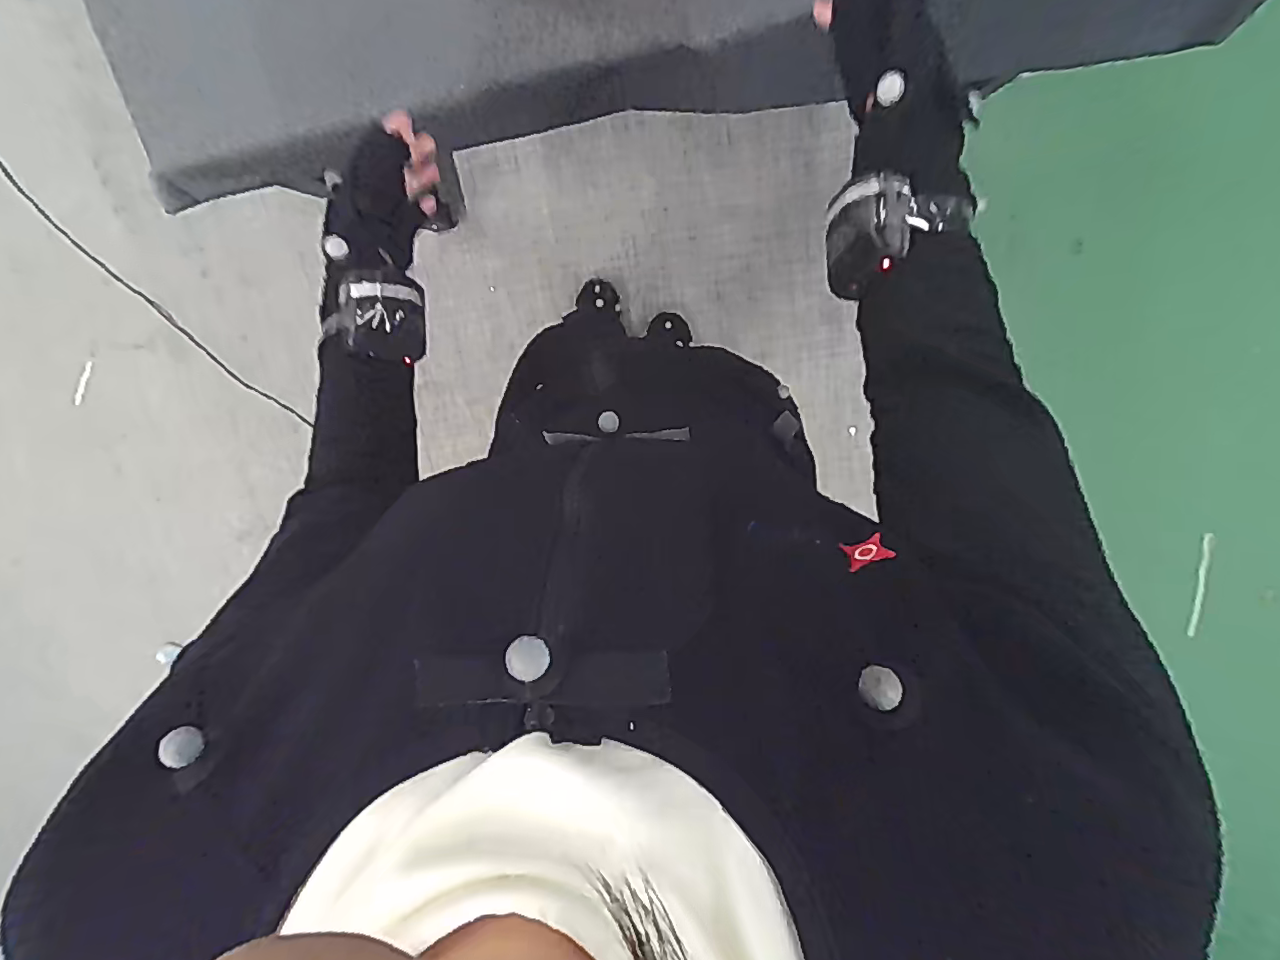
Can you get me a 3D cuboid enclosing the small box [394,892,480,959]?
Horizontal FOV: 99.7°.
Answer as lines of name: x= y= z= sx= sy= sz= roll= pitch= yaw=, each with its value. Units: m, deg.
small box: x=-0.575 y=1.310 z=1.517 sx=0.179 sy=0.176 sz=0.168 roll=25 pitch=108 yaw=-4
